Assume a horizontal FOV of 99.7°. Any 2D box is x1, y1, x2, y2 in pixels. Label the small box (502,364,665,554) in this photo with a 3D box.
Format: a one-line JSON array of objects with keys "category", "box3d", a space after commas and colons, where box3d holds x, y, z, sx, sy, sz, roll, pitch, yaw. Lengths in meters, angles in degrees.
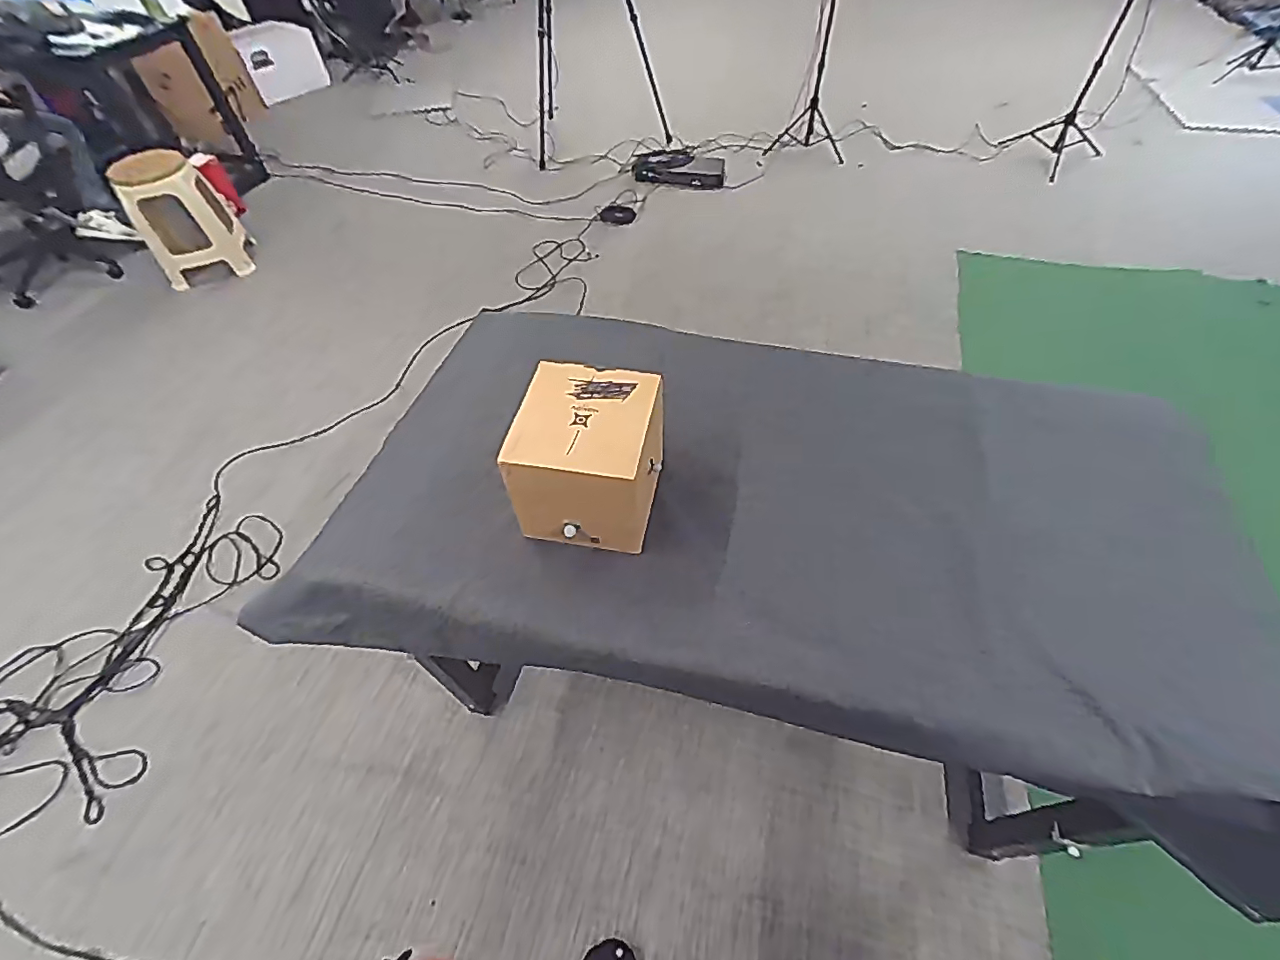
[{"category": "small box", "box3d": [-0.063, -0.027, 0.723, 0.168, 0.176, 0.179, 8, 53, 9]}]
